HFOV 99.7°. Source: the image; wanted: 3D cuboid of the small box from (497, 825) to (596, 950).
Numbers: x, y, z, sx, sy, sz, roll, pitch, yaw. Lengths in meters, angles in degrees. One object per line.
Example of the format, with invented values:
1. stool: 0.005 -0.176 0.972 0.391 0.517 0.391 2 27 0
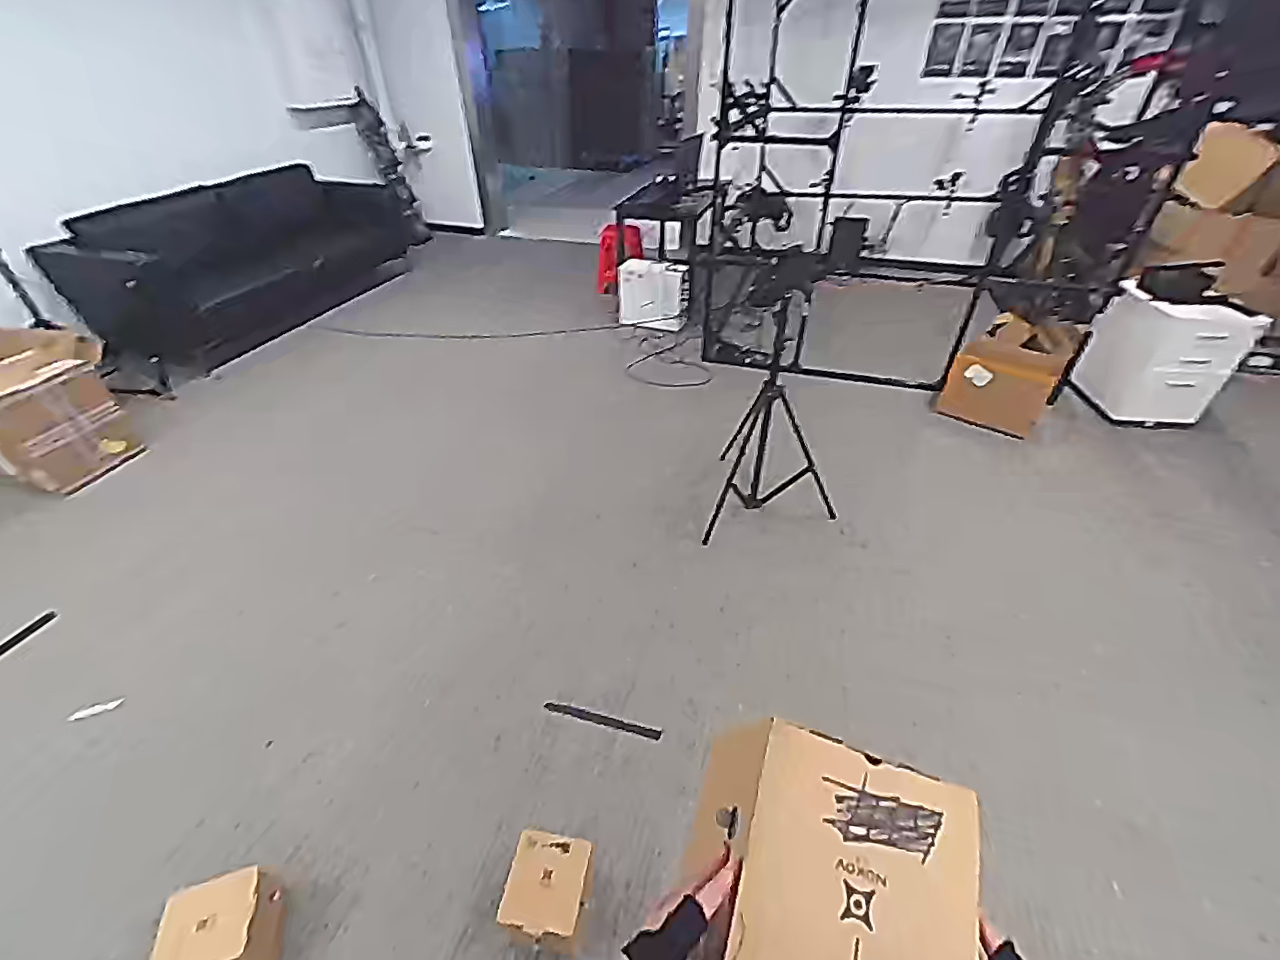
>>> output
1. small box: -0.198 0.911 1.206 0.168 0.176 0.179 6 39 8

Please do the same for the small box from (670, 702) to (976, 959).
1. small box: 0.133 0.301 0.430 0.168 0.176 0.179 20 61 2

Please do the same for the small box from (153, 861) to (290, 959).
1. small box: -0.881 0.960 1.152 0.179 0.176 0.168 -13 38 -14
